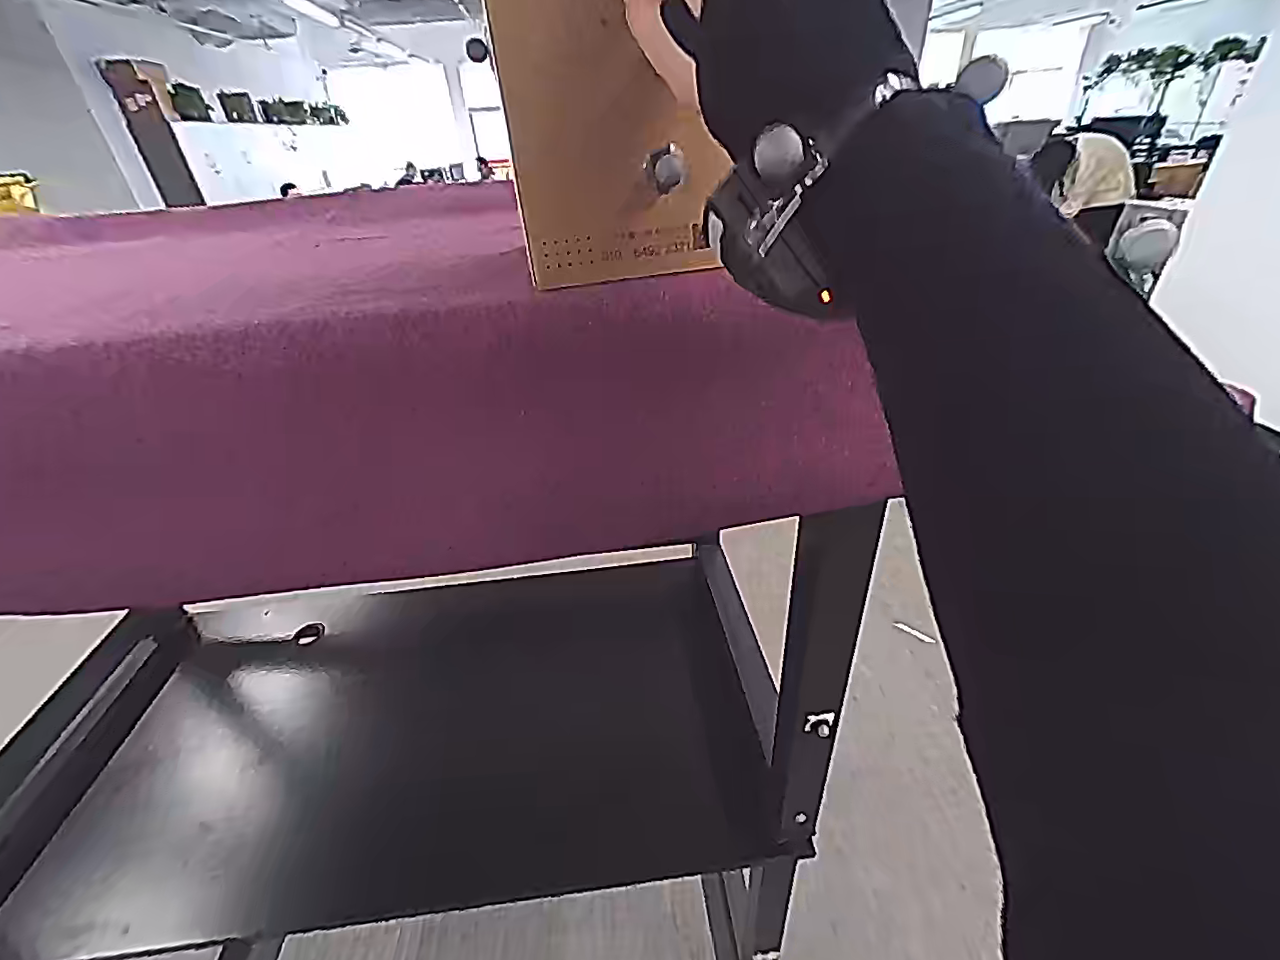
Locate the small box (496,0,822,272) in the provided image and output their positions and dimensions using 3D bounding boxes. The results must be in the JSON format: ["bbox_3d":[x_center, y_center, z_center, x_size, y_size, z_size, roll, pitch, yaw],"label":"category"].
[{"bbox_3d":[-0.001,-0.241,0.355,0.168,0.176,0.179,-10,33,-8],"label":"small box"}]
